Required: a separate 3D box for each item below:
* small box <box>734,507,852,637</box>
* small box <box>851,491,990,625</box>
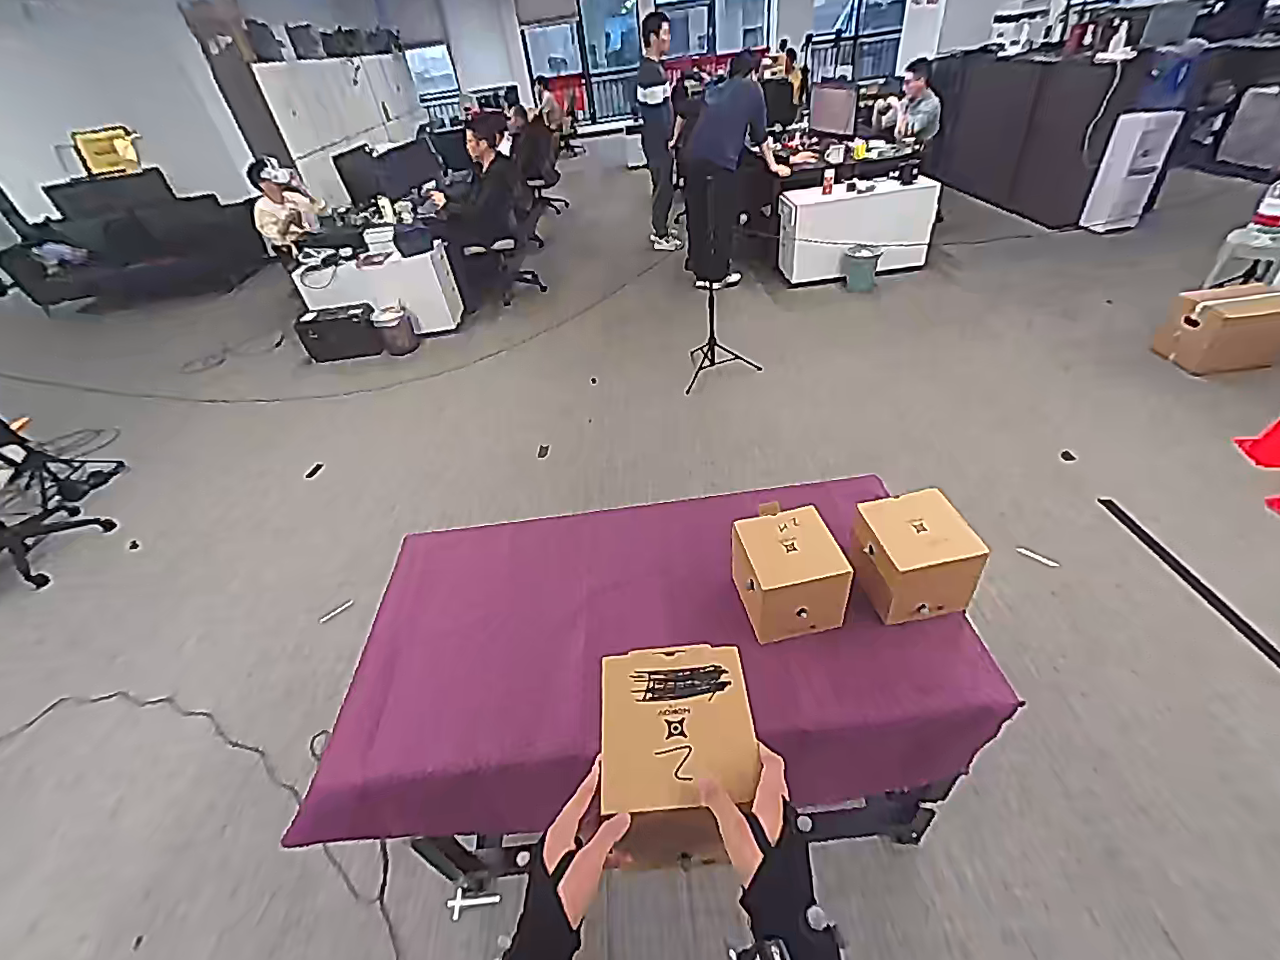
[{"bbox_3d":[0.287,0.183,1.046,0.168,0.176,0.179,-11,39,-3],"label":"small box"},{"bbox_3d":[0.524,0.150,1.042,0.168,0.176,0.179,-11,39,0],"label":"small box"}]
